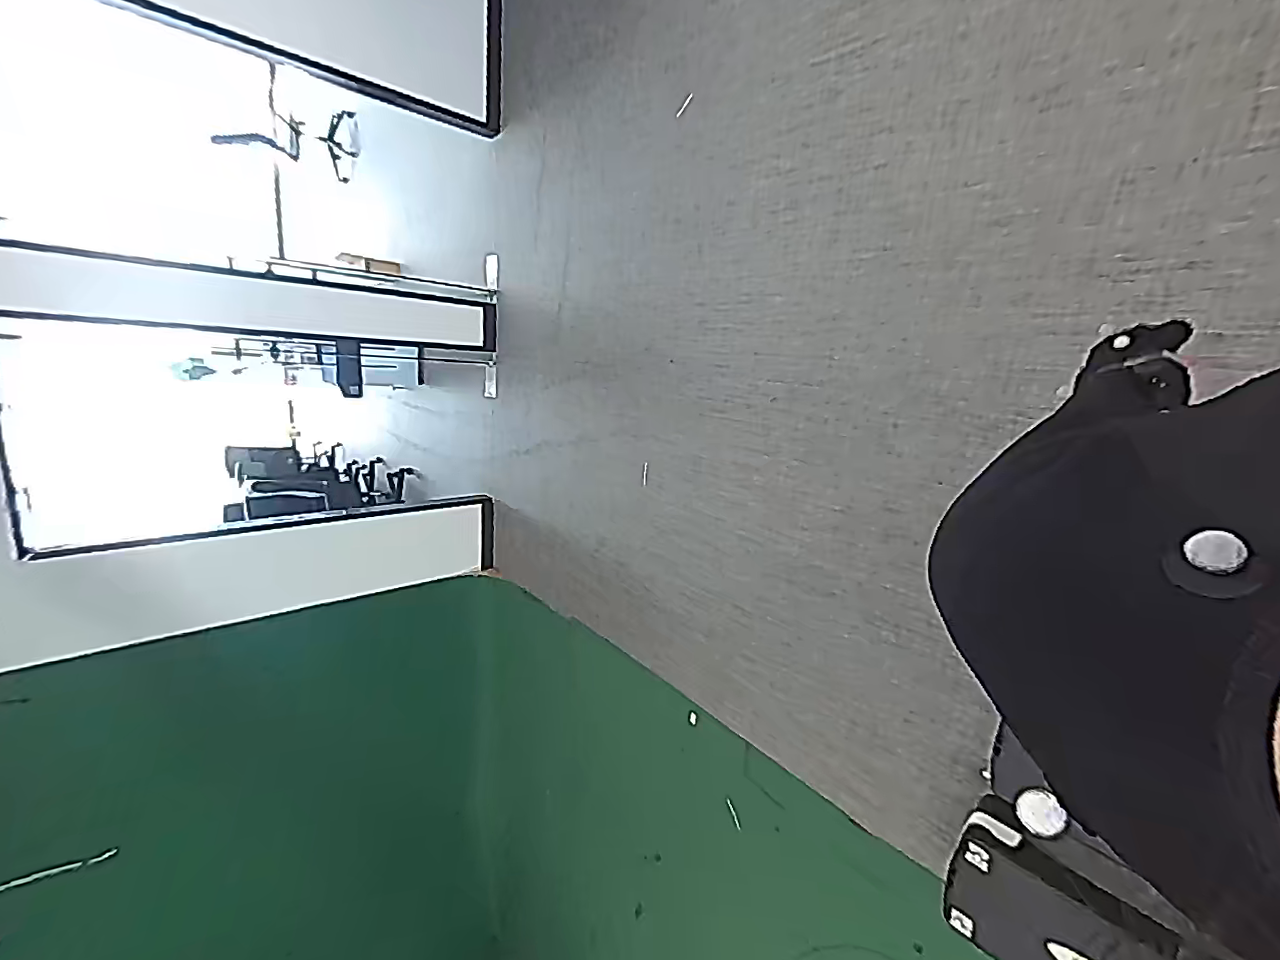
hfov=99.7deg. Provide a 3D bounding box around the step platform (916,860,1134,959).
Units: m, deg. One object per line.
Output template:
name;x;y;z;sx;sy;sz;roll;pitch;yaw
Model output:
step platform;0.904;1.071;0.995;0.684;0.204;0.286;17;108;46
